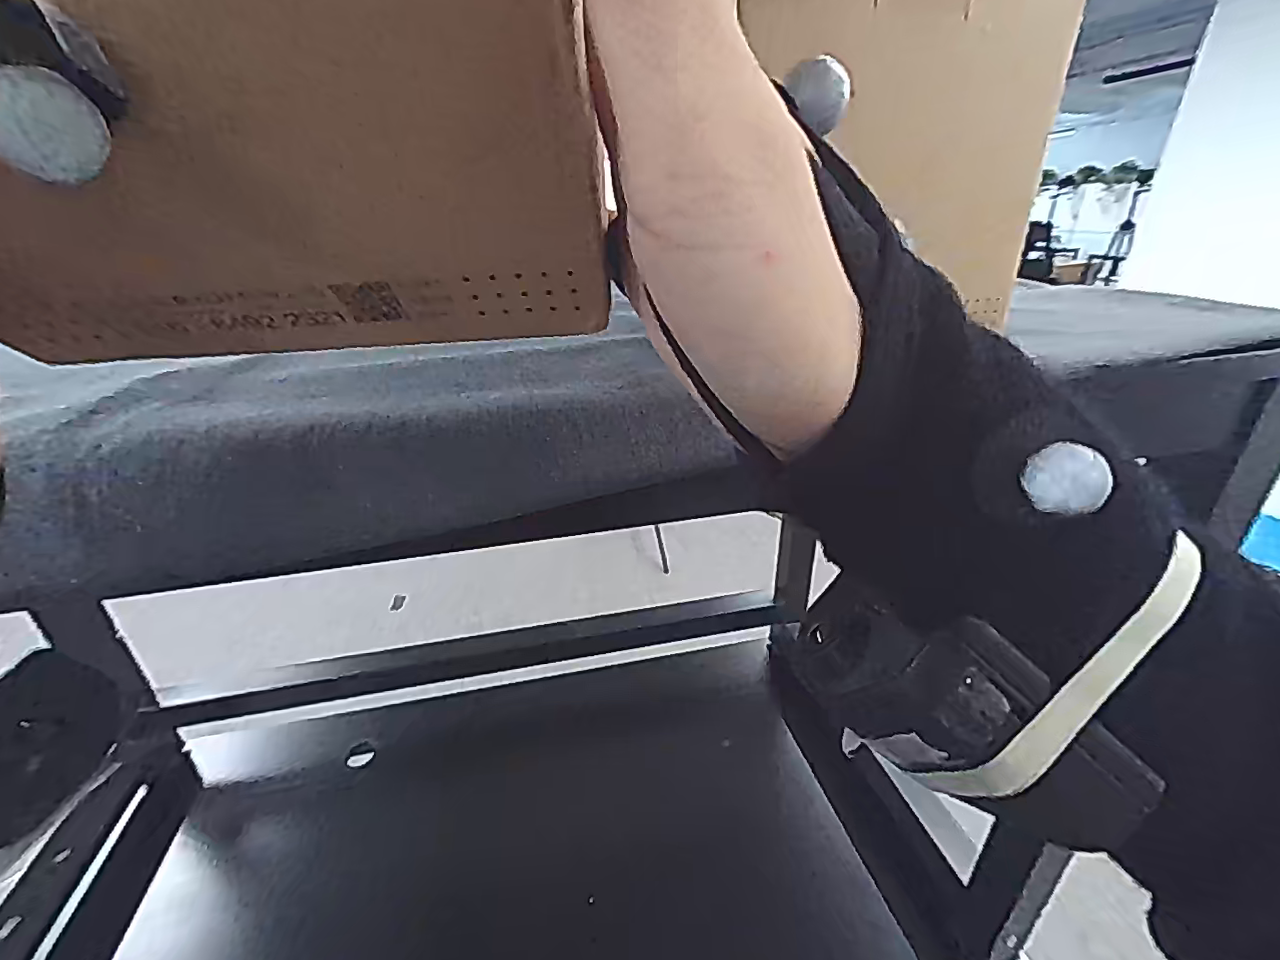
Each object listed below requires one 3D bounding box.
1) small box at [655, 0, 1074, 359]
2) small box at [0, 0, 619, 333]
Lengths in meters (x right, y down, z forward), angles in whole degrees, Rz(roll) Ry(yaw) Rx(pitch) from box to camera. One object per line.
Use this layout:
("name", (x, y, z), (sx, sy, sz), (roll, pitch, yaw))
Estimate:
("small box", (0.106, -0.177, 0.340), (0.168, 0.176, 0.179), (-8, 26, -9))
("small box", (-0.094, -0.144, 0.107), (0.168, 0.179, 0.176), (-4, -18, 0))
